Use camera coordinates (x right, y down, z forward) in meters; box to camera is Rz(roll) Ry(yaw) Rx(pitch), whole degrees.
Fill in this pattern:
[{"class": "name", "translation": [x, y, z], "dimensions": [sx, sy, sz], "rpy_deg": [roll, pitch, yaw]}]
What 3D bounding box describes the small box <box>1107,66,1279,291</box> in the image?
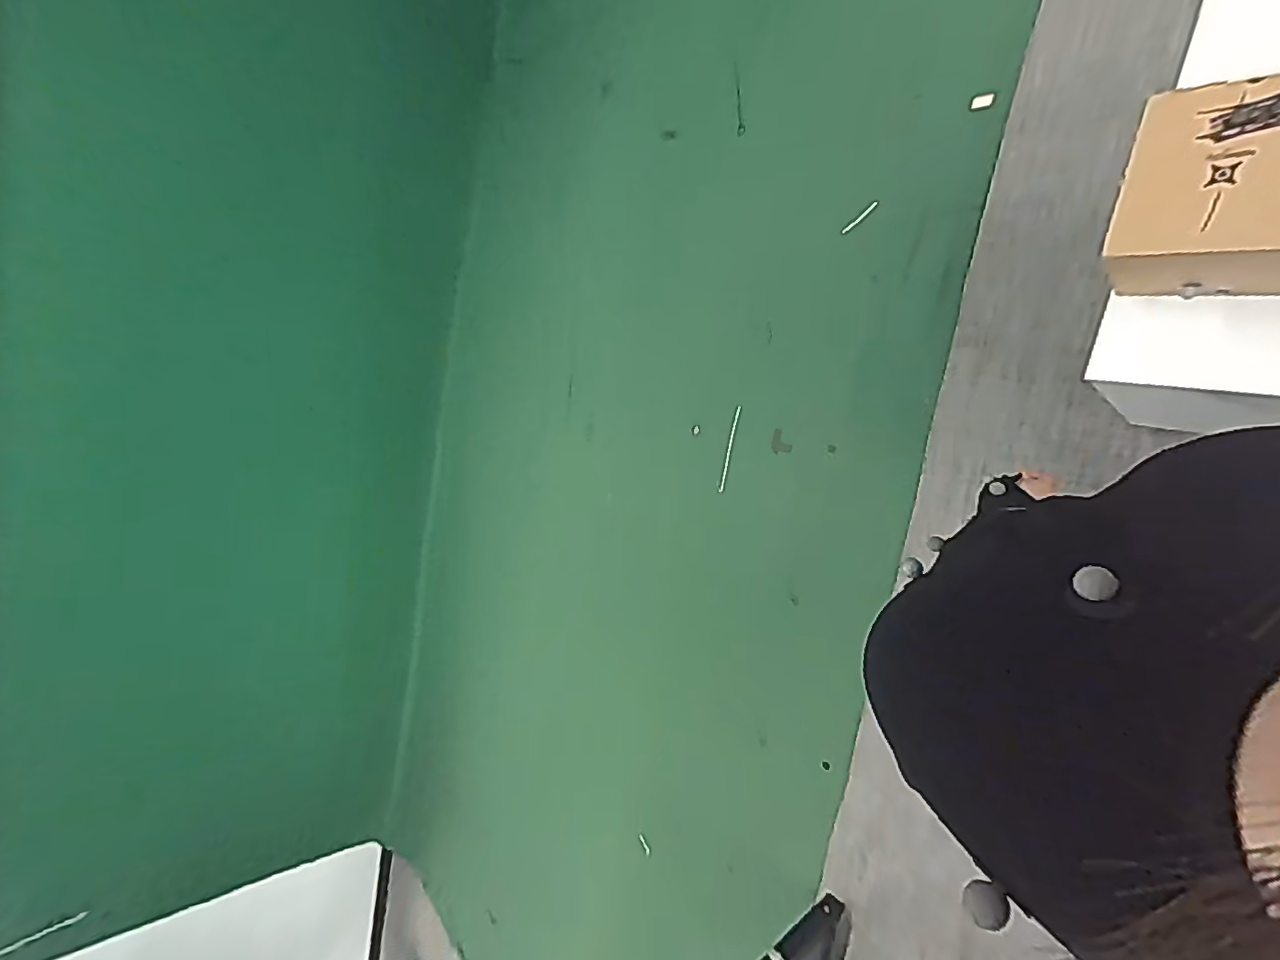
[{"class": "small box", "translation": [0.665, -0.326, 0.609], "dimensions": [0.168, 0.176, 0.179], "rpy_deg": [20, 103, 45]}]
